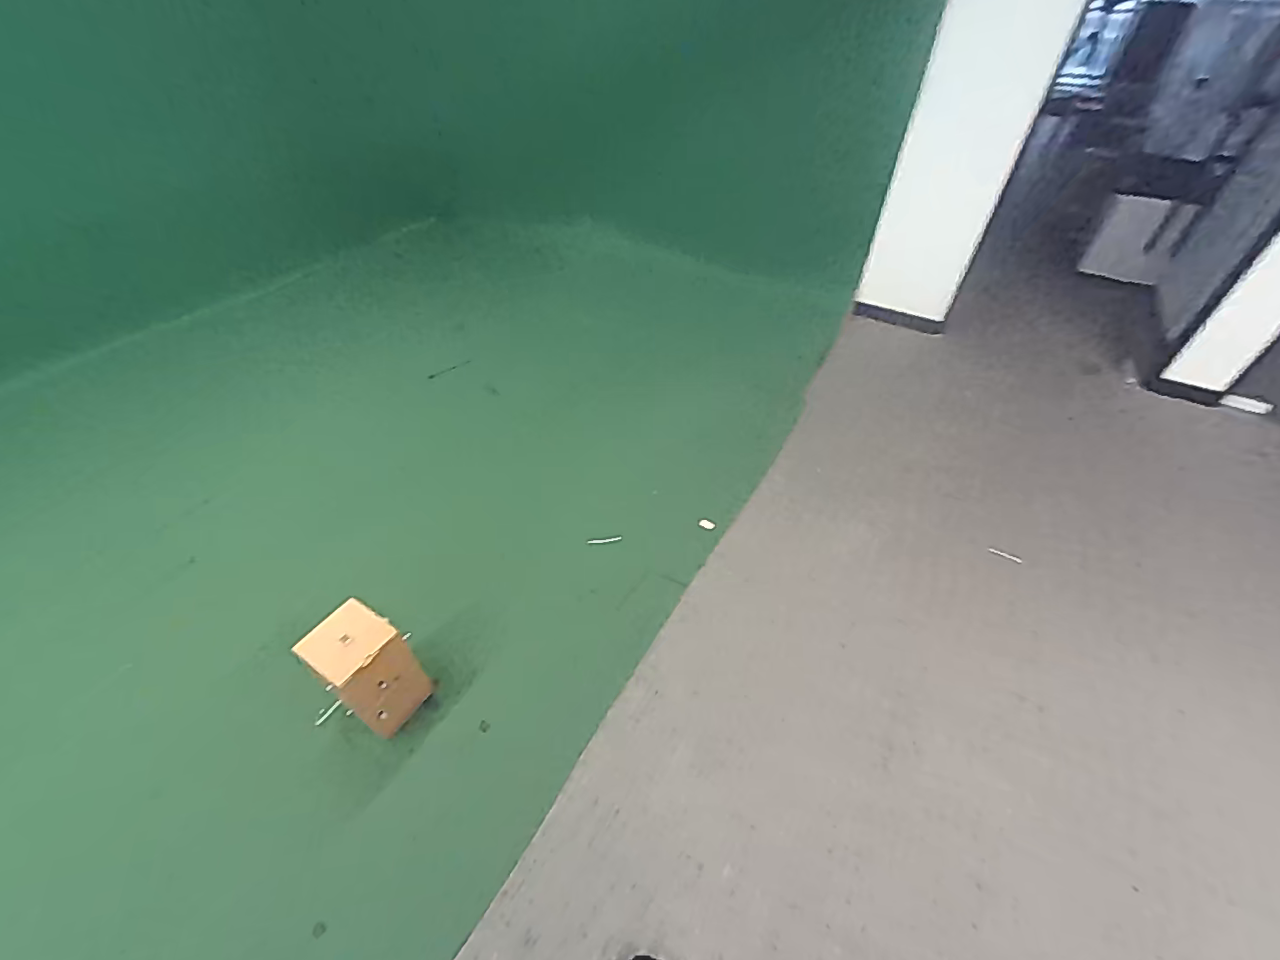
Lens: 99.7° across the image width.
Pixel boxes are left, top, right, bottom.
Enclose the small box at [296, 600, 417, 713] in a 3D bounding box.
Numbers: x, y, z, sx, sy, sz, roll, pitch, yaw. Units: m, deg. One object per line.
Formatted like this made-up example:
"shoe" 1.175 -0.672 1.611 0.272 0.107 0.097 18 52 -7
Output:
"small box" -0.683 0.434 1.319 0.179 0.176 0.168 24 49 22
